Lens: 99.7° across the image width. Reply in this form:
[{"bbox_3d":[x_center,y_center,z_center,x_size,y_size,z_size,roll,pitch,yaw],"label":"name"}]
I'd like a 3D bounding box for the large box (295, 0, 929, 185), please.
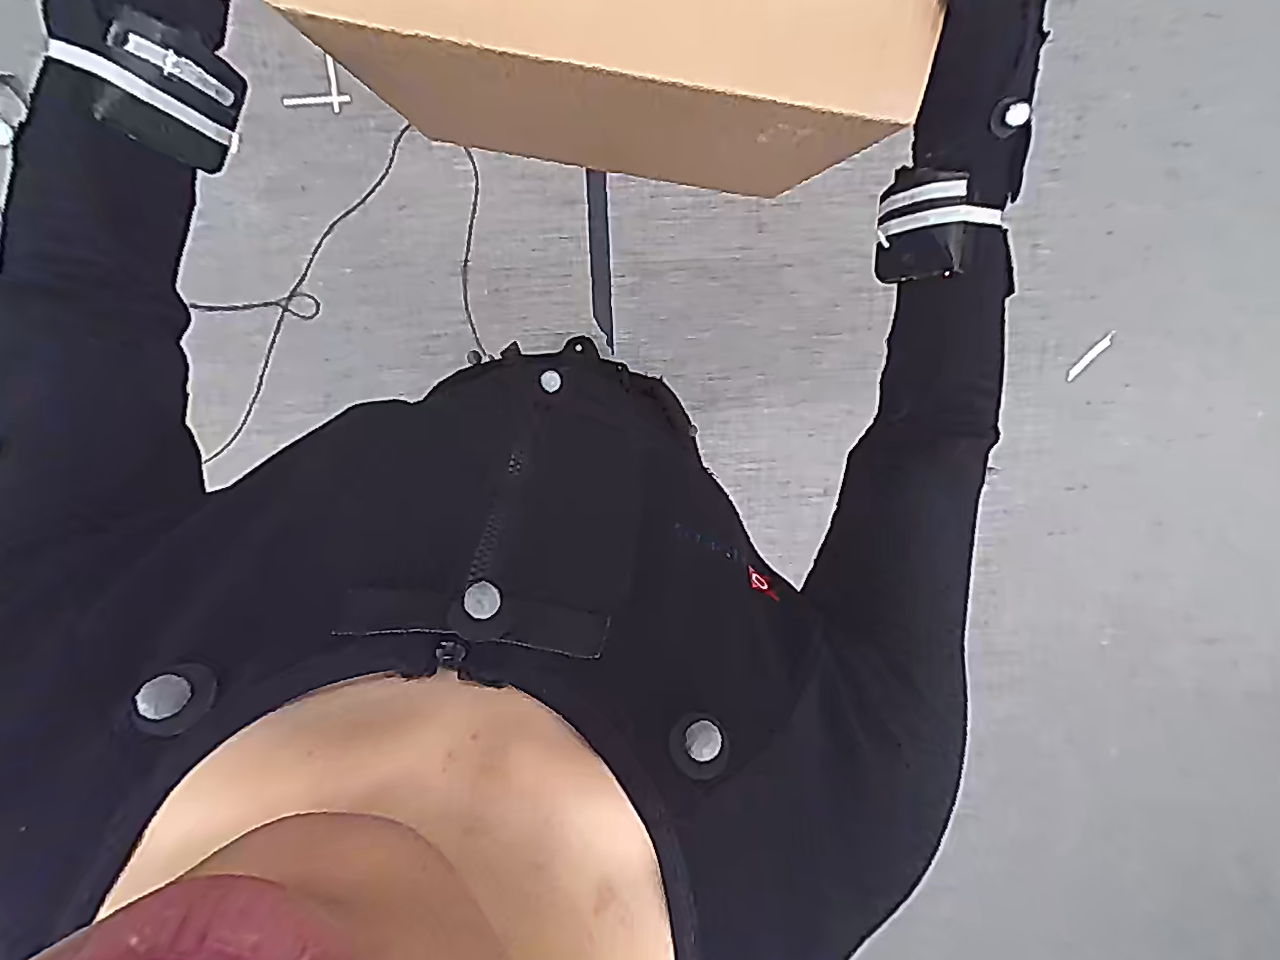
[{"bbox_3d":[-0.011,-0.460,0.436,0.408,0.320,0.320,6,110,-6],"label":"large box"}]
